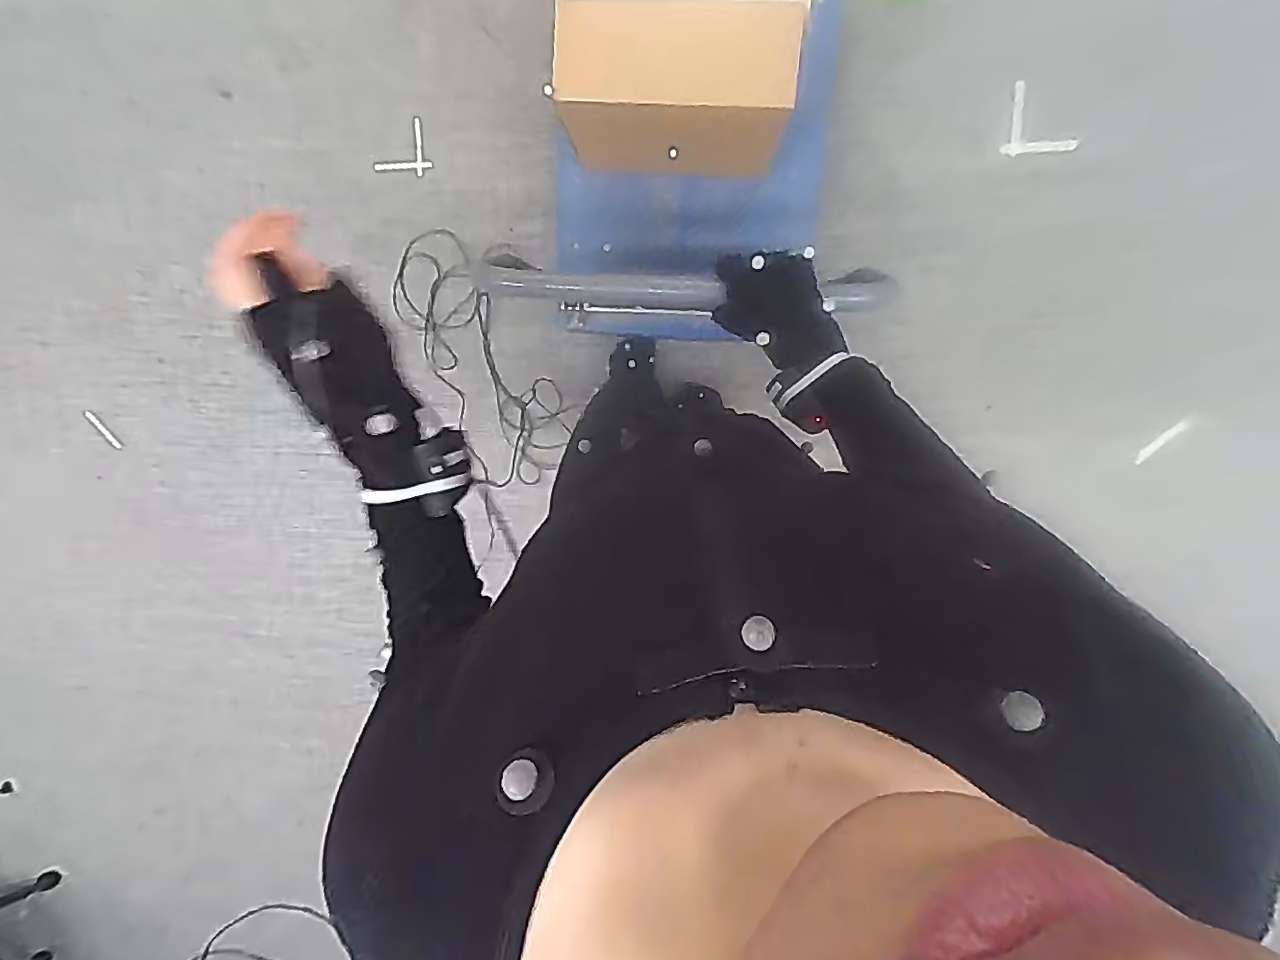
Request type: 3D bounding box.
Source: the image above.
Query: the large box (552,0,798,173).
[{"bbox_3d":[0.070,-0.800,1.018,0.408,0.320,0.320,5,100,5],"label":"large box"}]
